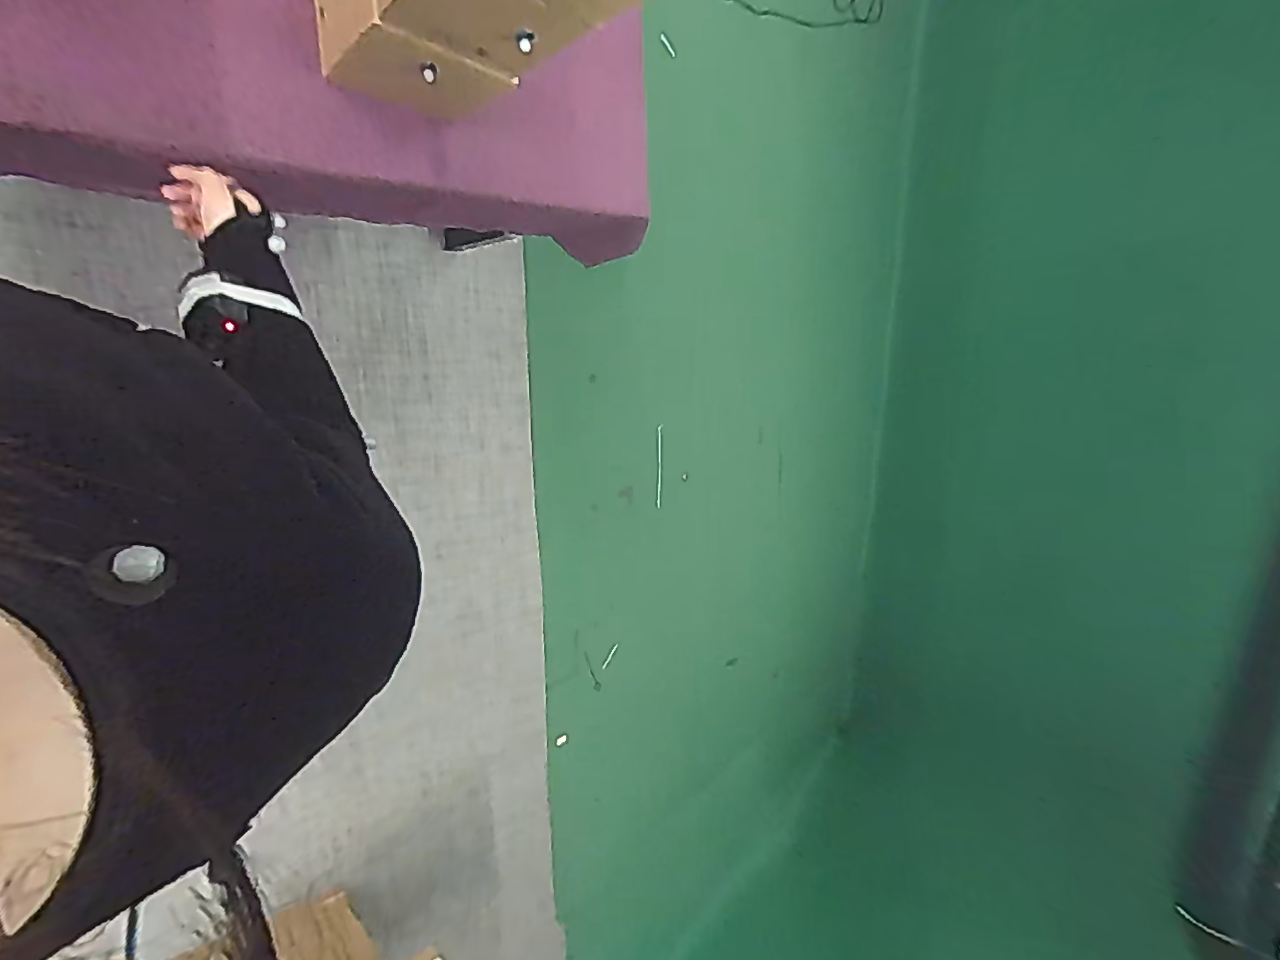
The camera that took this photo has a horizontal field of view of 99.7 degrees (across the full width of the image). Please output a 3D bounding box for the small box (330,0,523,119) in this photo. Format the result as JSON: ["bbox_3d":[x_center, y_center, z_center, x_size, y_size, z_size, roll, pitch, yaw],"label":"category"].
[{"bbox_3d":[-0.259,-0.565,0.646,0.179,0.176,0.168,-10,107,-44],"label":"small box"}]

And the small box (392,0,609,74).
[{"bbox_3d":[-0.144,-0.547,0.532,0.168,0.176,0.179,-11,106,-44],"label":"small box"}]
